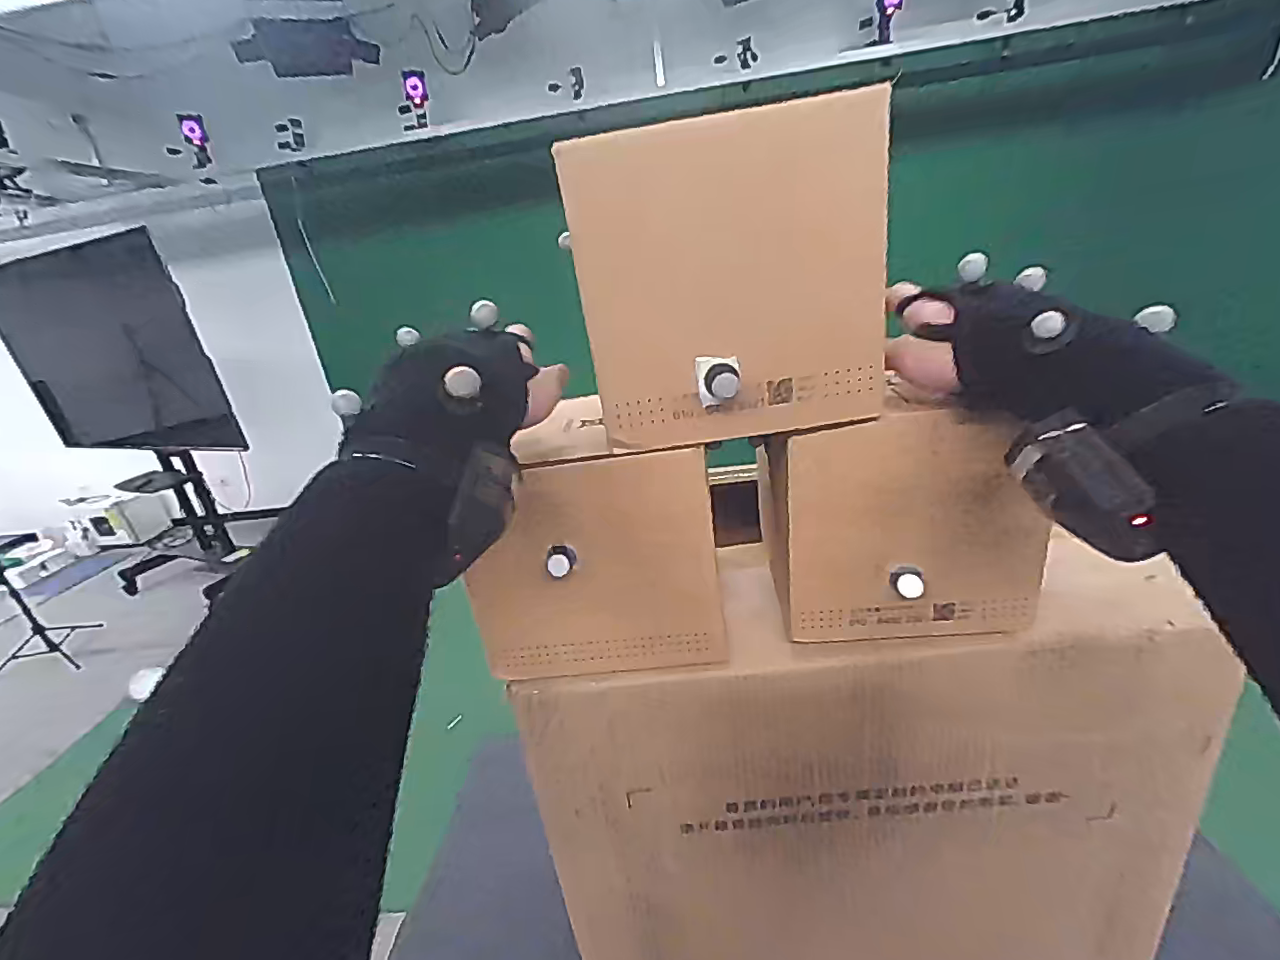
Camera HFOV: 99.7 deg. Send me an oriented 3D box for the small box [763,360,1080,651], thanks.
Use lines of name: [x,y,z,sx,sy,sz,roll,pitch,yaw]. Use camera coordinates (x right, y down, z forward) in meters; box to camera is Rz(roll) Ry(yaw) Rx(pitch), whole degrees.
small box: [0.188,0.011,0.427,0.168,0.176,0.179,-4,24,7]

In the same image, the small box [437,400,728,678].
small box: [-0.029,0.039,0.434,0.179,0.176,0.168,-5,24,5]

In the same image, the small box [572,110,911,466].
small box: [0.056,-0.122,0.365,0.168,0.176,0.179,-8,24,1]
